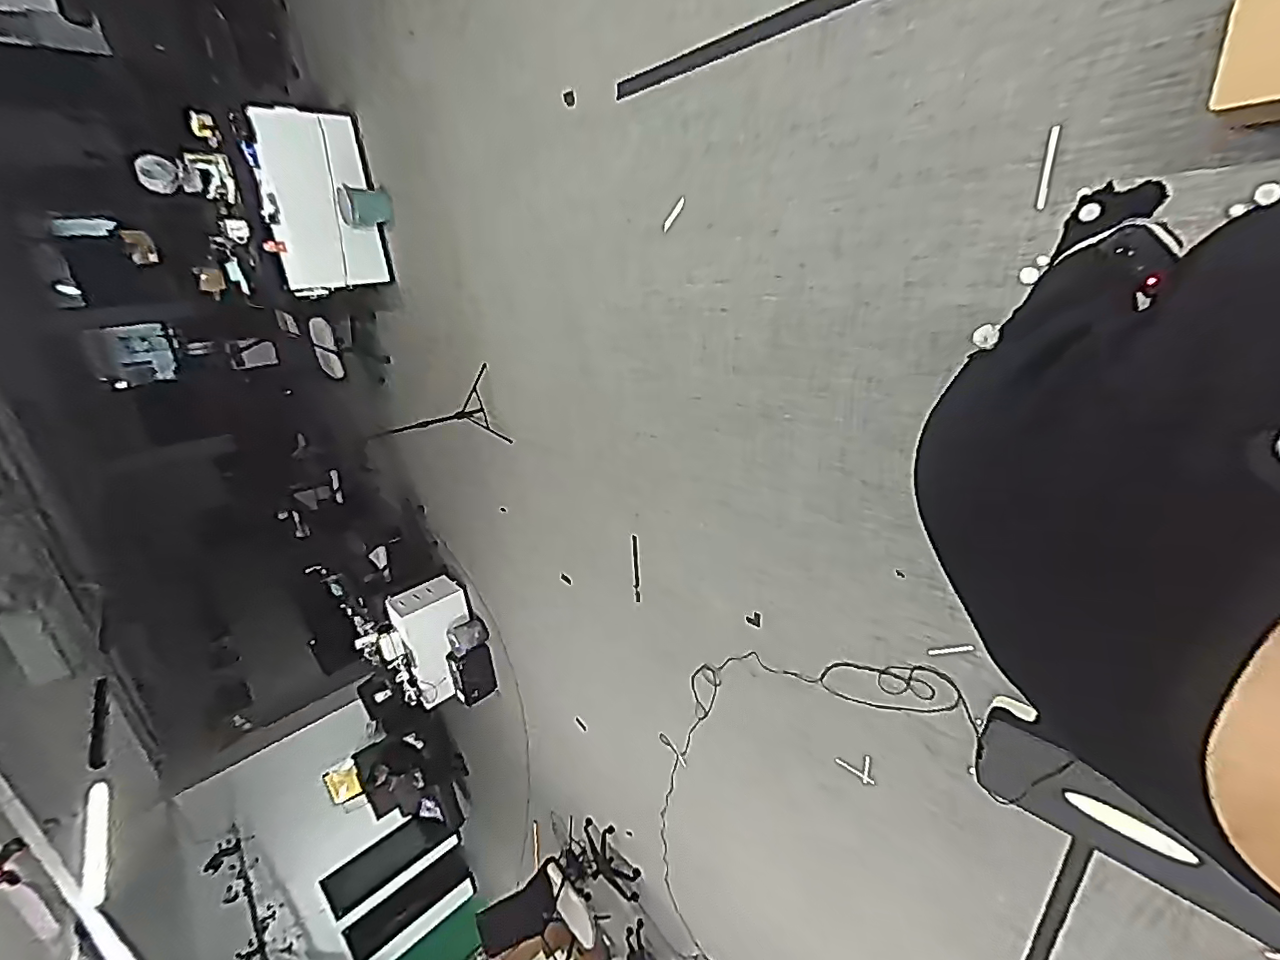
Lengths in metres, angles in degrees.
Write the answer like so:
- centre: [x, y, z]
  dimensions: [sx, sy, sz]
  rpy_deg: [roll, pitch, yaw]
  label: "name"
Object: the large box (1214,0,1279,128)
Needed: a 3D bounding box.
- centre: [1.026, -0.669, 0.659]
  dimensions: [0.408, 0.320, 0.320]
  rpy_deg: [16, 121, 44]
  label: "large box"
